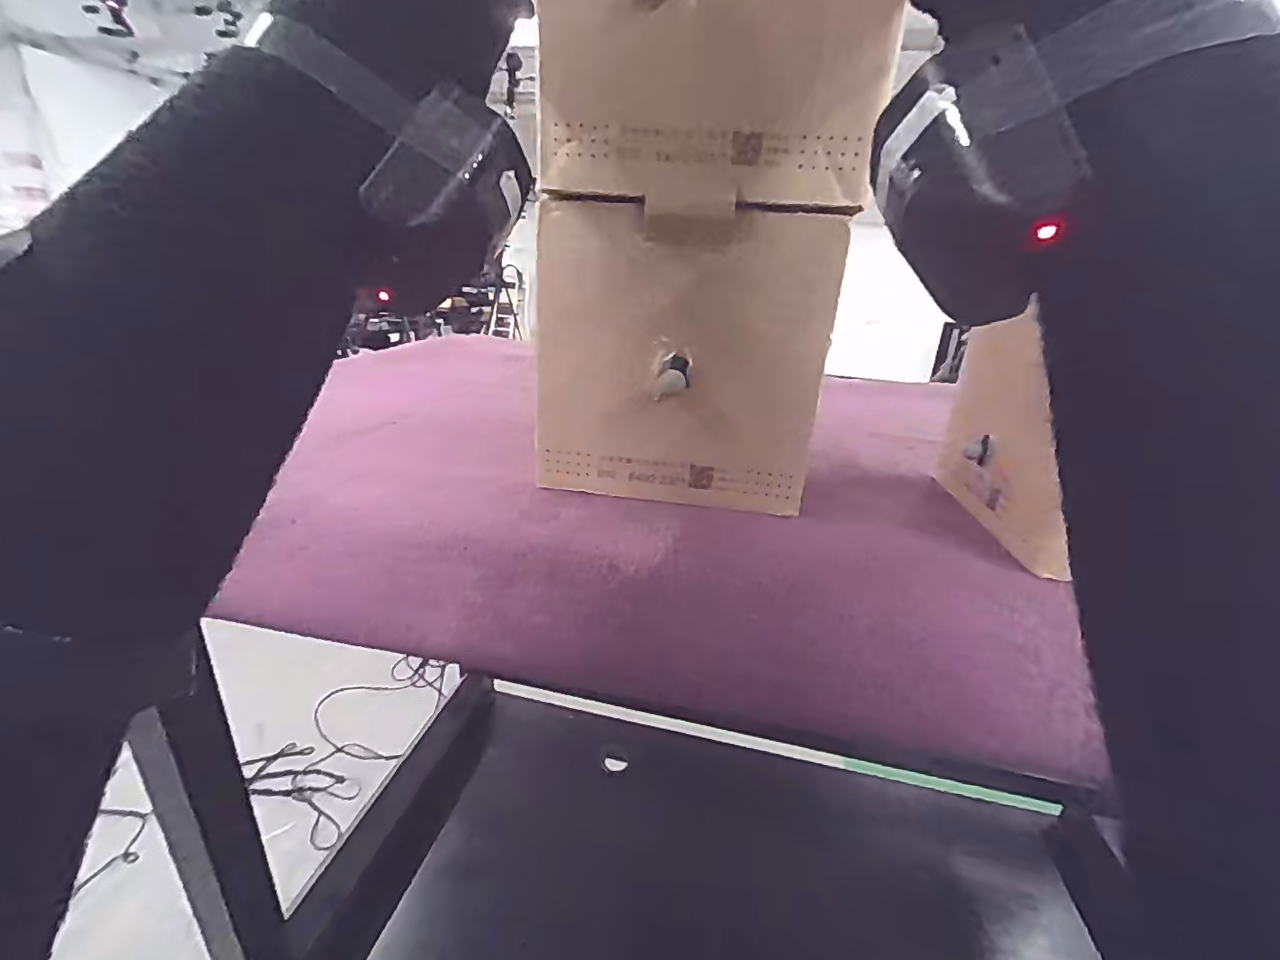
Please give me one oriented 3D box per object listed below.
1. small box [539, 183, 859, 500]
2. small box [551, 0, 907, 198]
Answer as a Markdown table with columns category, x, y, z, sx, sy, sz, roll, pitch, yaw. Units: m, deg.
| category | x | y | z | sx | sy | sz | roll | pitch | yaw |
| --- | --- | --- | --- | --- | --- | --- | --- | --- | --- |
| small box | 0.036 | -0.097 | 0.377 | 0.168 | 0.176 | 0.179 | 7 | 21 | 6 |
| small box | 0.048 | -0.247 | 0.316 | 0.168 | 0.176 | 0.179 | 6 | 20 | 4 |
